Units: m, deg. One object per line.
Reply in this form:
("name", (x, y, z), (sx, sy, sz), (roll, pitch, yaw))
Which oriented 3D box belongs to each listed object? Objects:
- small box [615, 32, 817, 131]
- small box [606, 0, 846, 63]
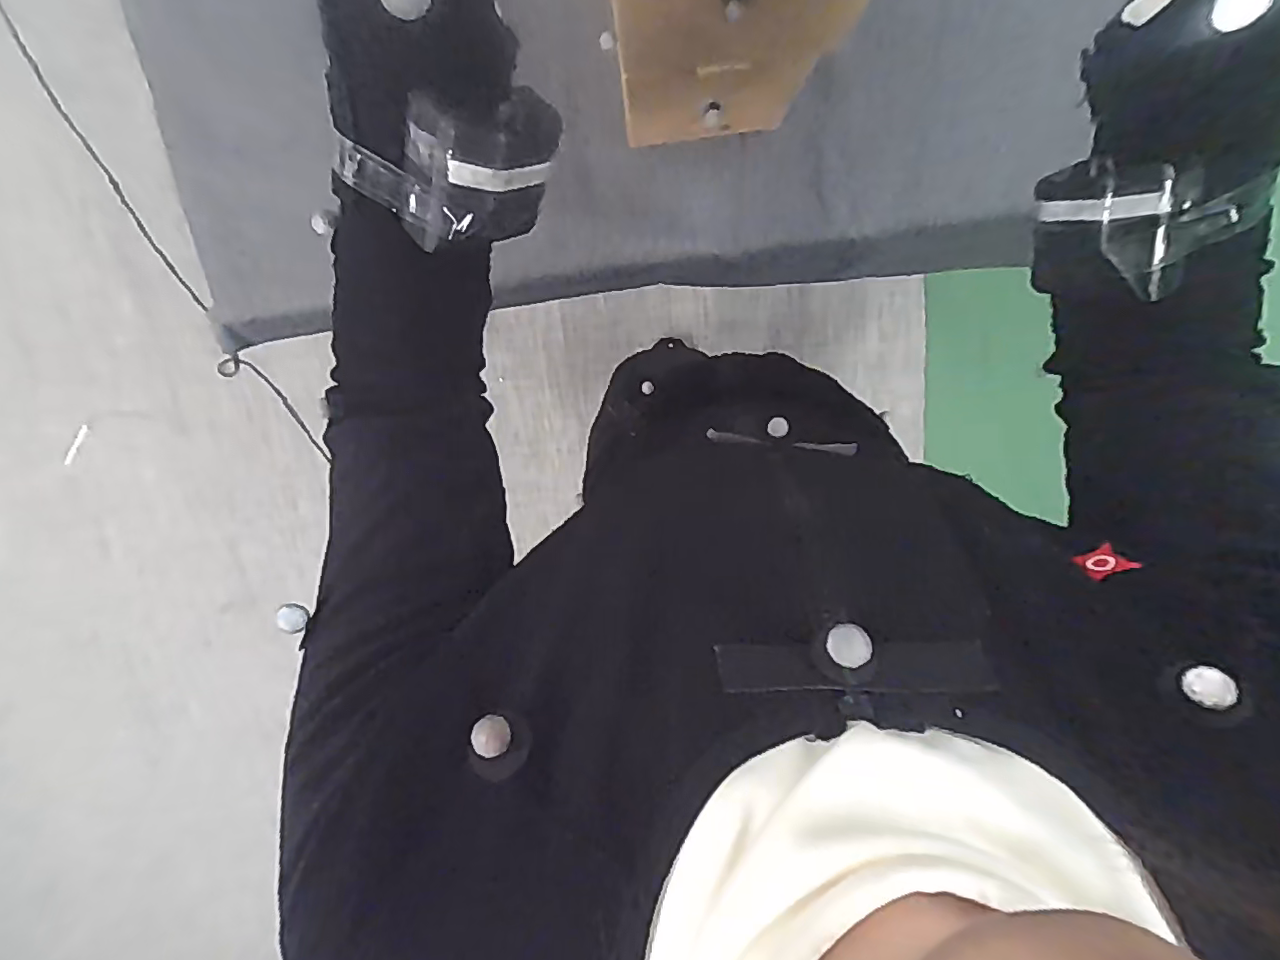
("small box", (0.056, -0.447, 0.495), (0.168, 0.176, 0.179), (-7, 104, 4))
("small box", (0.058, -0.399, 0.336), (0.179, 0.176, 0.168), (-4, 104, 3))
